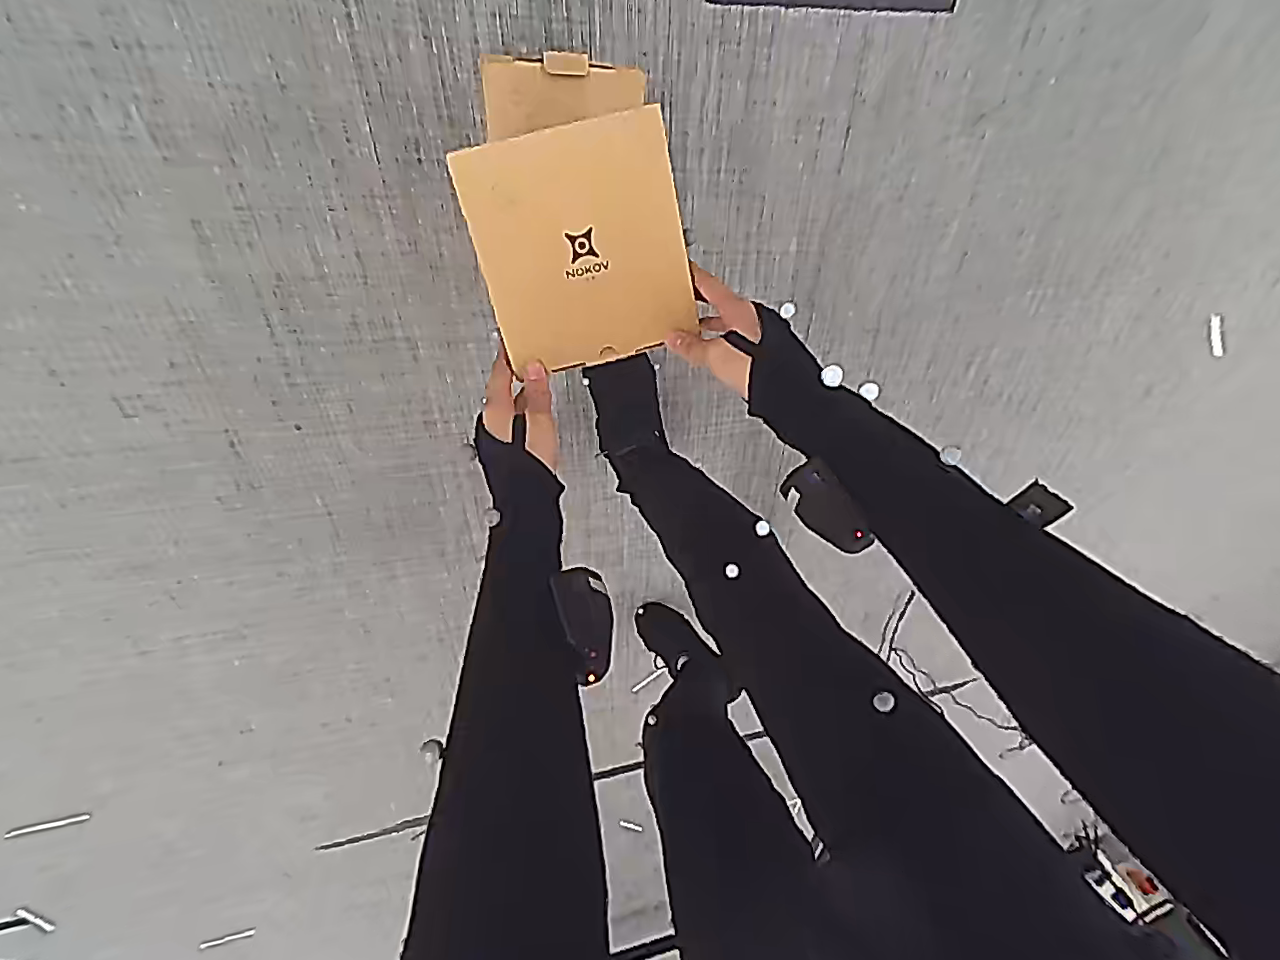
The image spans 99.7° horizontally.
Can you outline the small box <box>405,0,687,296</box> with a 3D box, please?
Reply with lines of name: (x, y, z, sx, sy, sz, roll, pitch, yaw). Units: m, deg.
small box: (-0.070, -0.267, 0.460, 0.168, 0.176, 0.179, -15, 114, -2)
